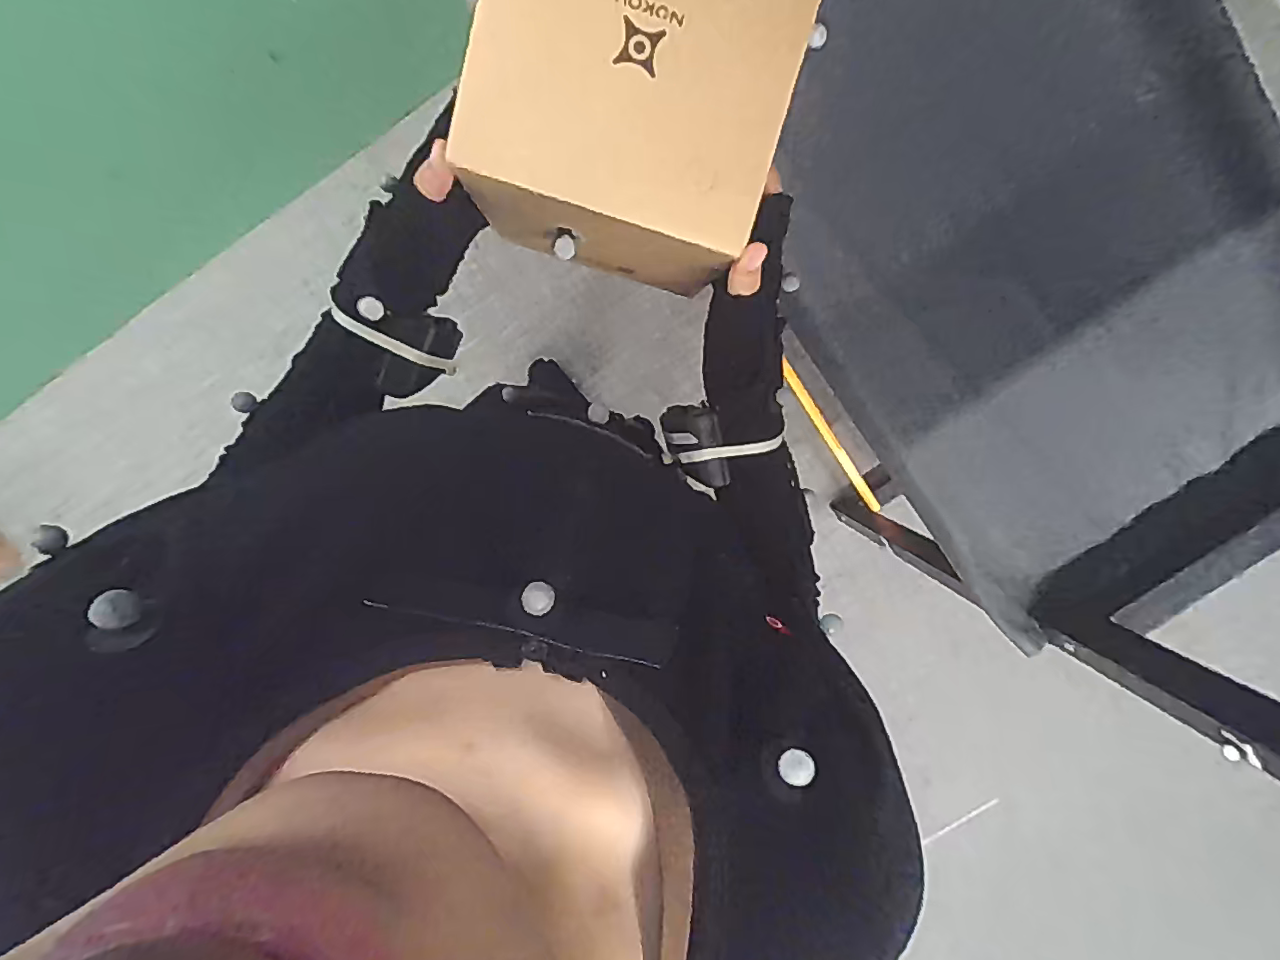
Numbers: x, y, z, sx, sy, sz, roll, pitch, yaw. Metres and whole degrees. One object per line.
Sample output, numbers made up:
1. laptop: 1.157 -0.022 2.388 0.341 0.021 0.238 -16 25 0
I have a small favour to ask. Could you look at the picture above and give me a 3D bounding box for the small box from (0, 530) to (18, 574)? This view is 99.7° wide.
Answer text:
1. small box: -1.804 0.199 1.403 0.179 0.176 0.168 -33 97 4
